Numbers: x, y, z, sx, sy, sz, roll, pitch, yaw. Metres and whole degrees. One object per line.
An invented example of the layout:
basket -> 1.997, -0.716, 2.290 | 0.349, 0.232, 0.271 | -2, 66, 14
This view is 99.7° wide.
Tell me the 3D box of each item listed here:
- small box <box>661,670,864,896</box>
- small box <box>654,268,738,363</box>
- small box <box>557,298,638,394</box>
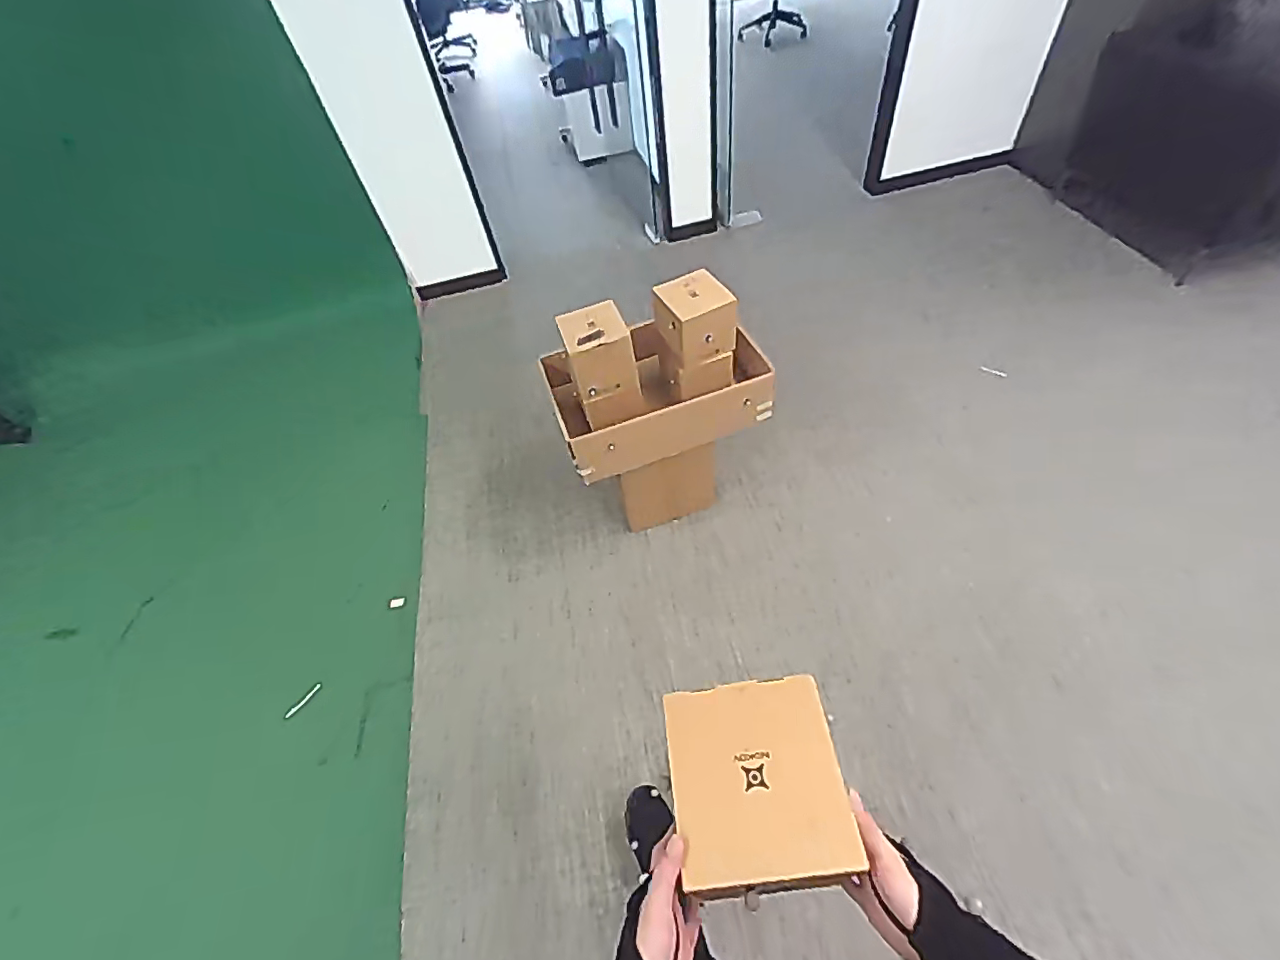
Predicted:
small box -> 0.120, 0.329, 0.580 | 0.168, 0.176, 0.179 | -9, 48, 3
small box -> 0.154, -0.443, 1.483 | 0.168, 0.176, 0.179 | -24, 54, -11
small box -> -0.111, -0.351, 1.452 | 0.168, 0.176, 0.179 | -18, 51, -5
